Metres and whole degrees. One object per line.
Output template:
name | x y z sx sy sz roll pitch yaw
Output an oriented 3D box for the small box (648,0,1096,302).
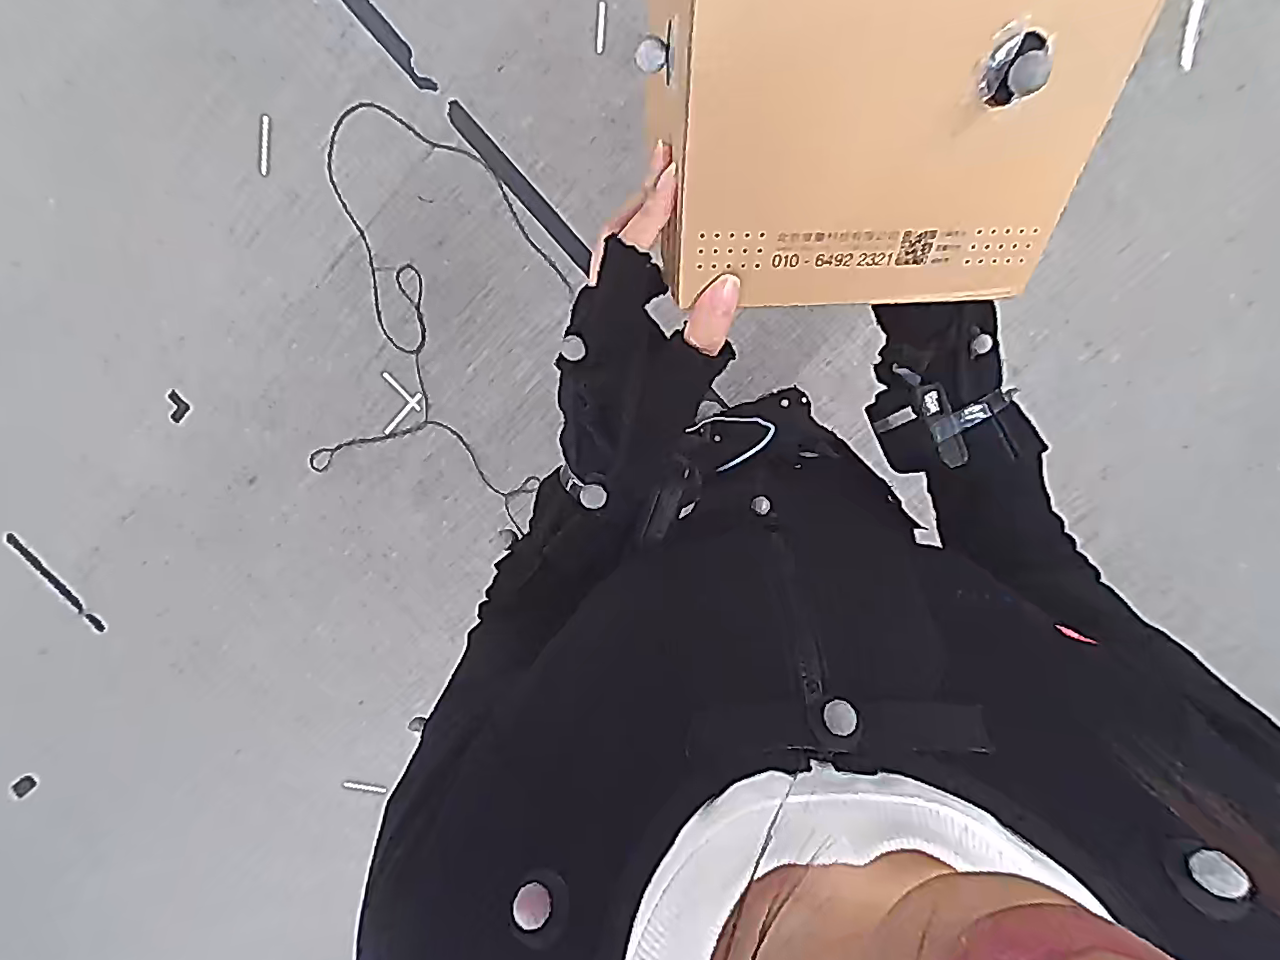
small box | 0.090 -0.202 0.277 0.168 0.179 0.176 -2 132 -2
